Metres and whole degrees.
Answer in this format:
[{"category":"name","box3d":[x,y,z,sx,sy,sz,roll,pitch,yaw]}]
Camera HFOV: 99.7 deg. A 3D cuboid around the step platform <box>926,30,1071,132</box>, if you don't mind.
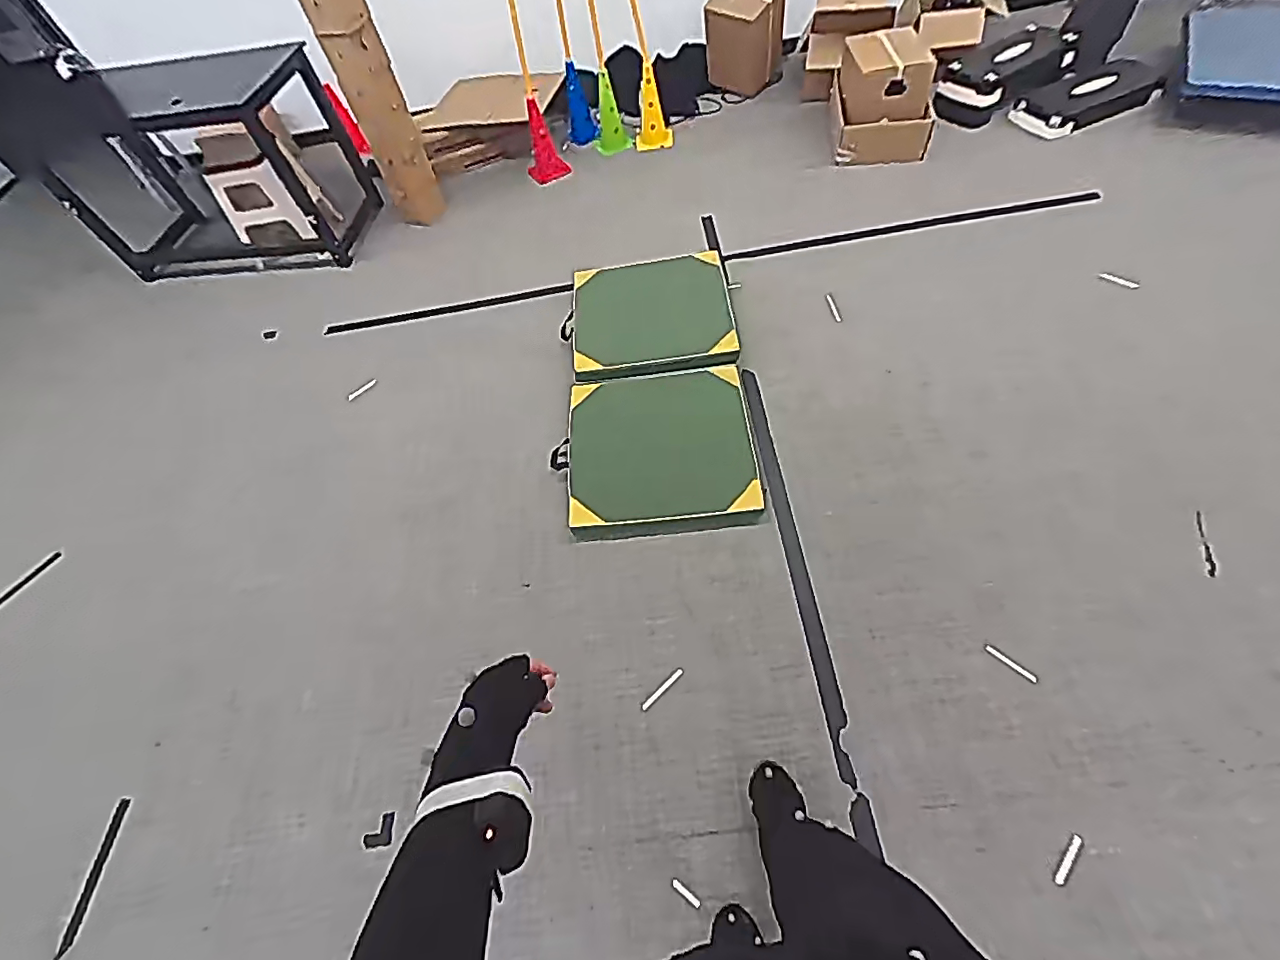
[{"category":"step platform","box3d":[1.787,-2.000,2.700,0.684,0.204,0.286,-33,58,-12]}]
